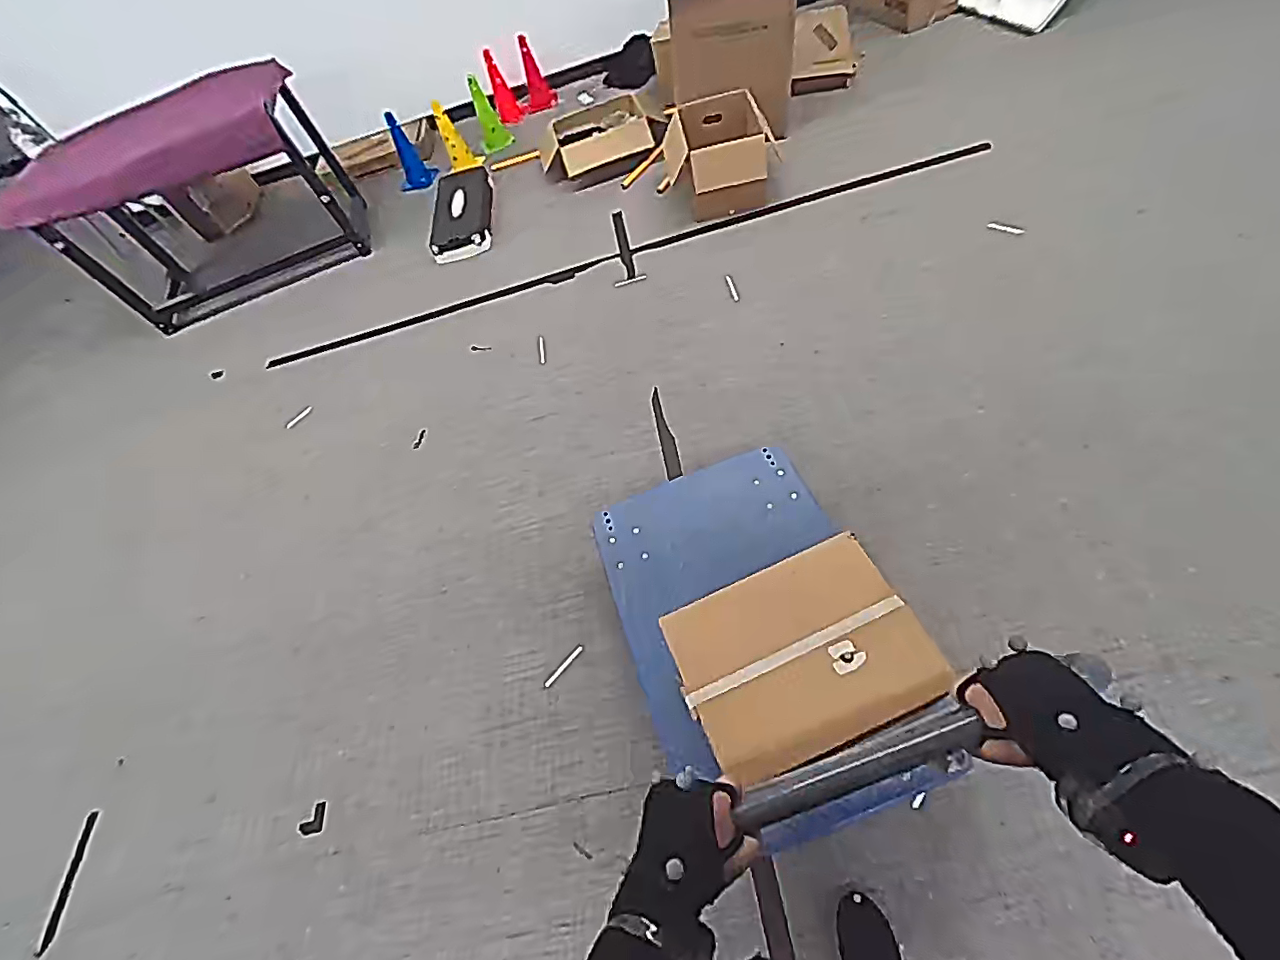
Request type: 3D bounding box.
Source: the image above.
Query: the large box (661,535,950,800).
[{"bbox_3d":[0.300,0.379,1.072,0.408,0.320,0.320,-24,56,-3],"label":"large box"}]
